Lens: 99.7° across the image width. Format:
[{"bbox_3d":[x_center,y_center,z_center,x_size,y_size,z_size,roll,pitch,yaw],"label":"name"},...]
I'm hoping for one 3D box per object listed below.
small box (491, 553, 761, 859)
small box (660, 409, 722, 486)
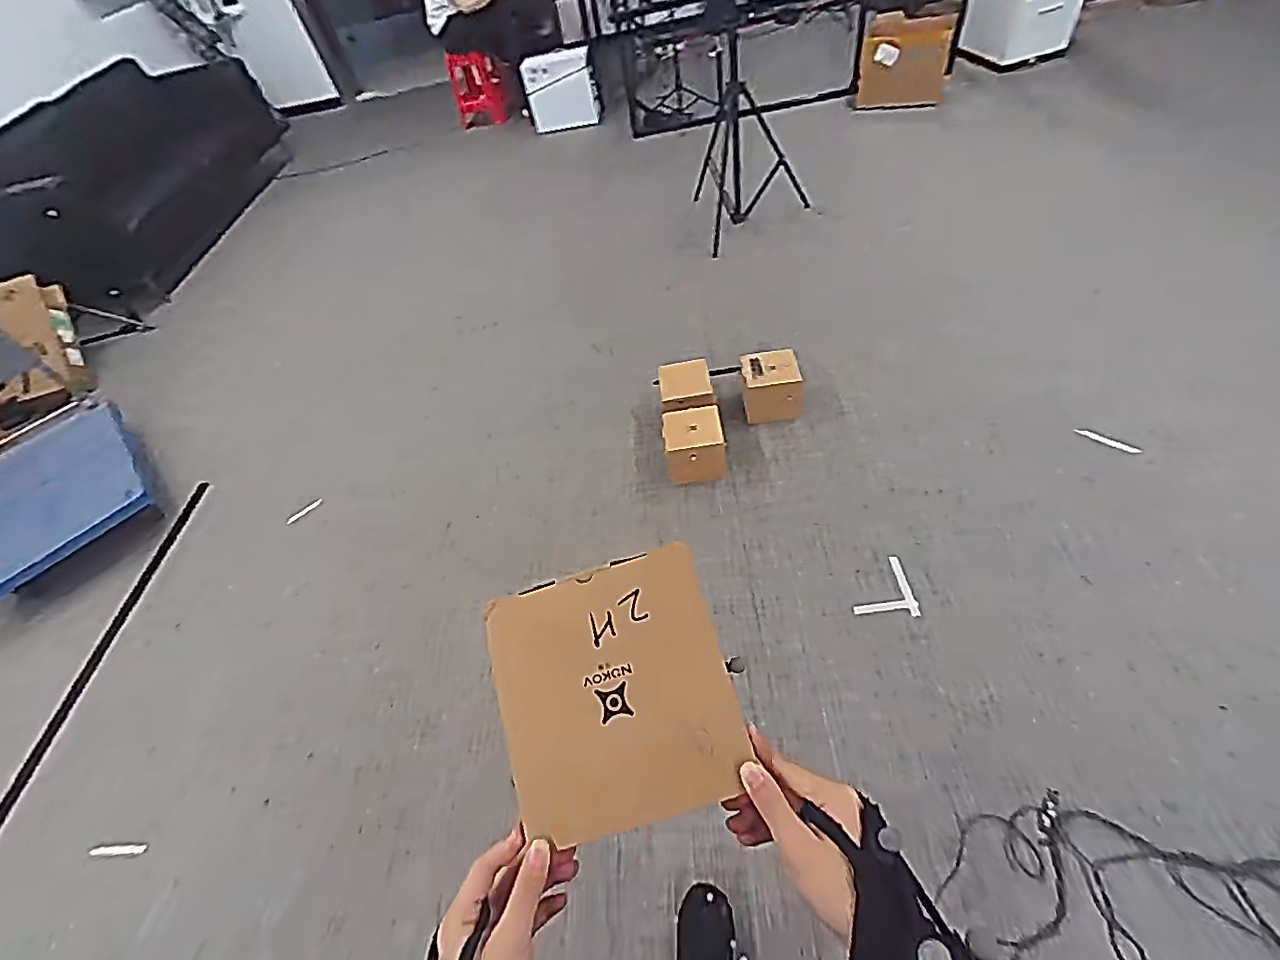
[{"bbox_3d":[-0.007,0.179,0.464,0.168,0.176,0.179,-17,70,1],"label":"small box"},{"bbox_3d":[0.165,-0.101,1.727,0.179,0.176,0.168,-9,51,6],"label":"small box"}]
